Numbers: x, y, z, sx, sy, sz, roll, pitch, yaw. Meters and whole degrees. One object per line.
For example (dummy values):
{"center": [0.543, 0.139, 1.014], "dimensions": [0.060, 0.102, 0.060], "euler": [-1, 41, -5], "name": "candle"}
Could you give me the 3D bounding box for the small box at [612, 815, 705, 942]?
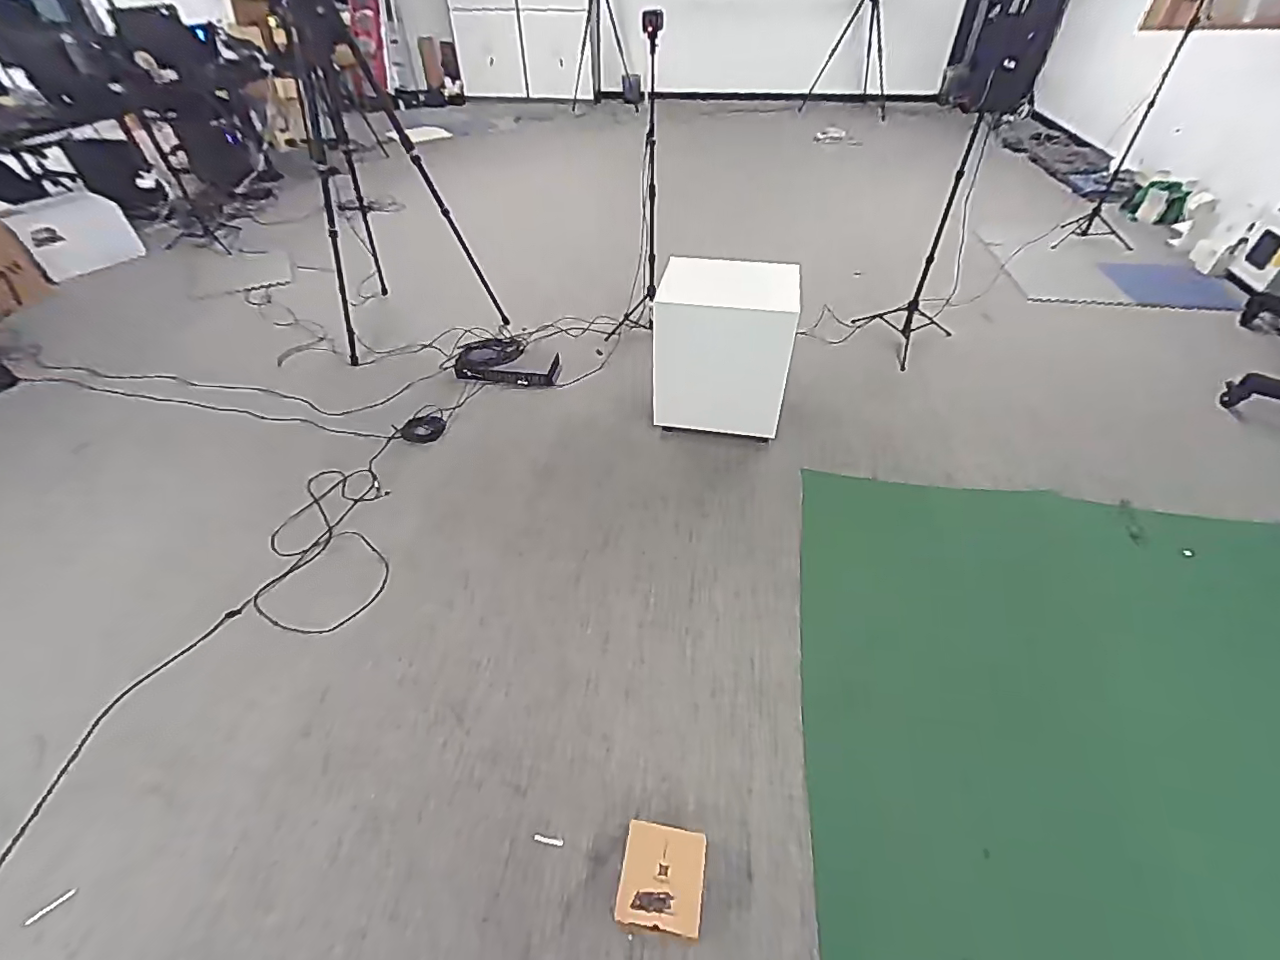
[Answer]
{"center": [0.043, 0.846, 1.144], "dimensions": [0.168, 0.176, 0.179], "euler": [7, 45, 8], "name": "small box"}
